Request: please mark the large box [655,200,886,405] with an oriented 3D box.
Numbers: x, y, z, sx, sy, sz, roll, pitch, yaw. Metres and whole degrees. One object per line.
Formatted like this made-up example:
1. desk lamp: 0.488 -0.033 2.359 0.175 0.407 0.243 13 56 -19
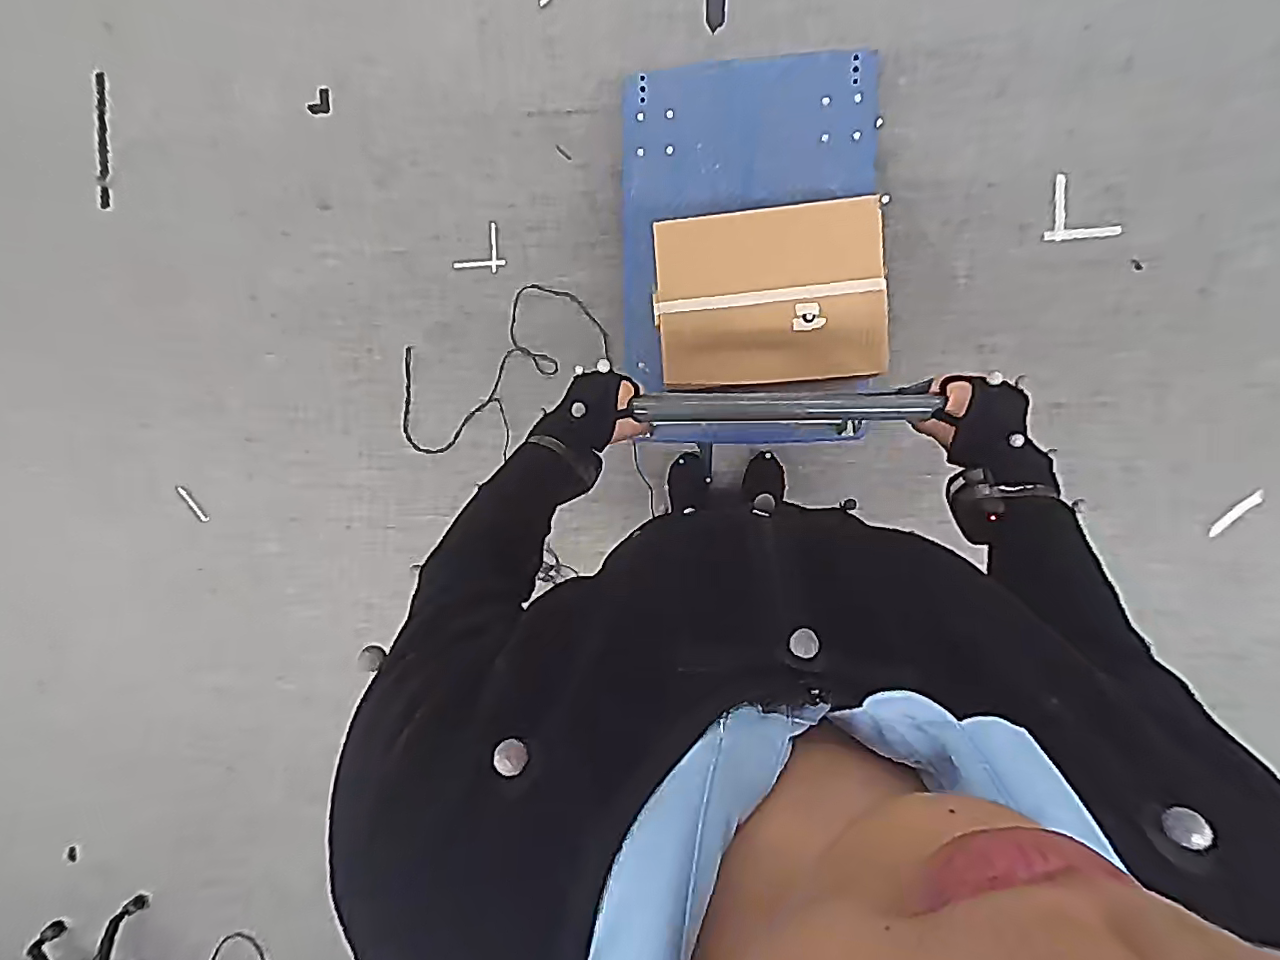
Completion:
1. large box: 0.252 -0.340 1.139 0.408 0.320 0.320 -4 94 6
